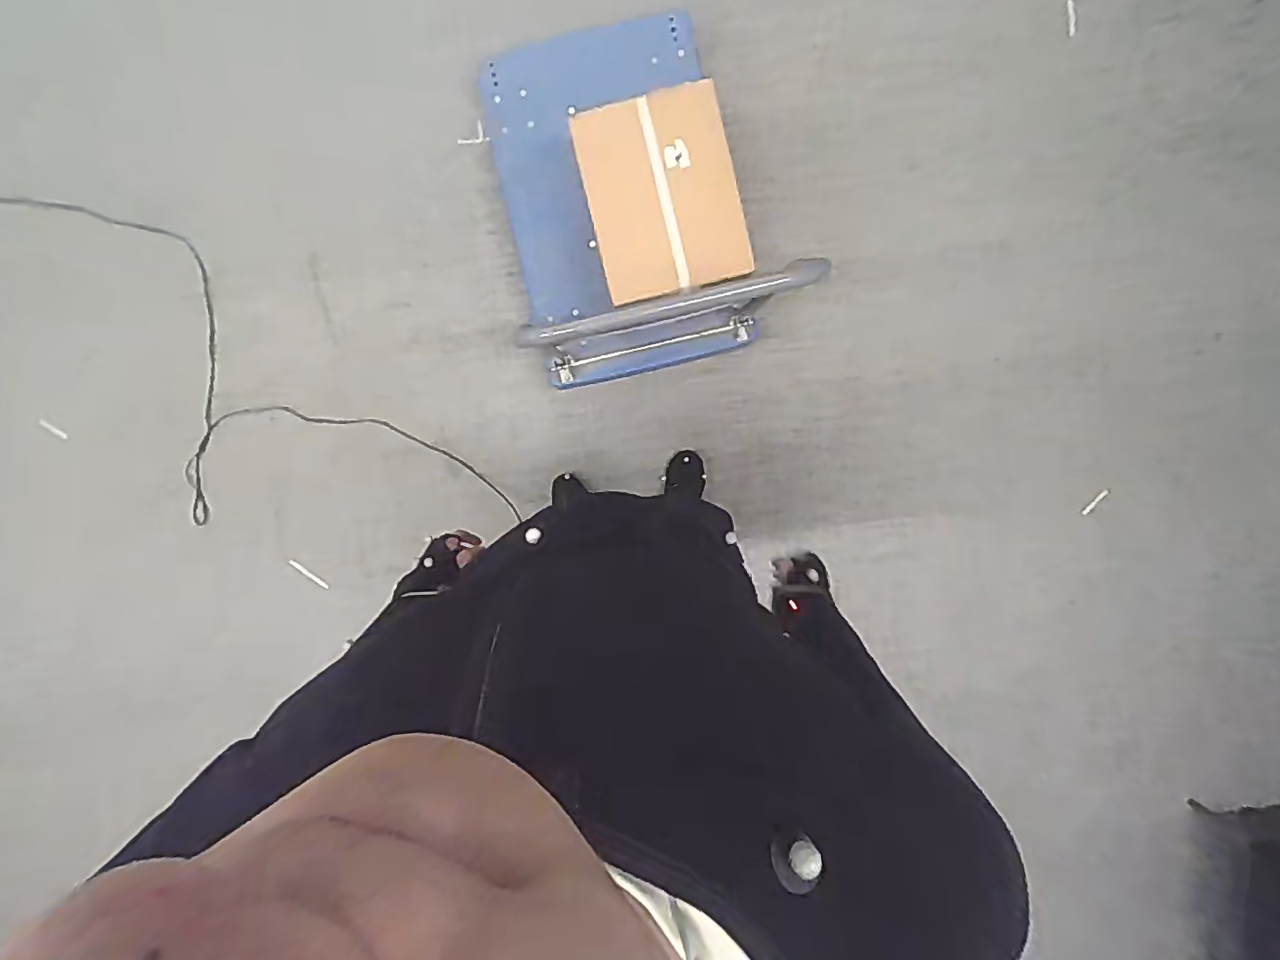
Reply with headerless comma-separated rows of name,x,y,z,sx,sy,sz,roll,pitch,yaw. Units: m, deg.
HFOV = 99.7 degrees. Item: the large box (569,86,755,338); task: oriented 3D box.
large box,0.049,-0.598,1.280,0.320,0.320,0.408,-14,93,0
